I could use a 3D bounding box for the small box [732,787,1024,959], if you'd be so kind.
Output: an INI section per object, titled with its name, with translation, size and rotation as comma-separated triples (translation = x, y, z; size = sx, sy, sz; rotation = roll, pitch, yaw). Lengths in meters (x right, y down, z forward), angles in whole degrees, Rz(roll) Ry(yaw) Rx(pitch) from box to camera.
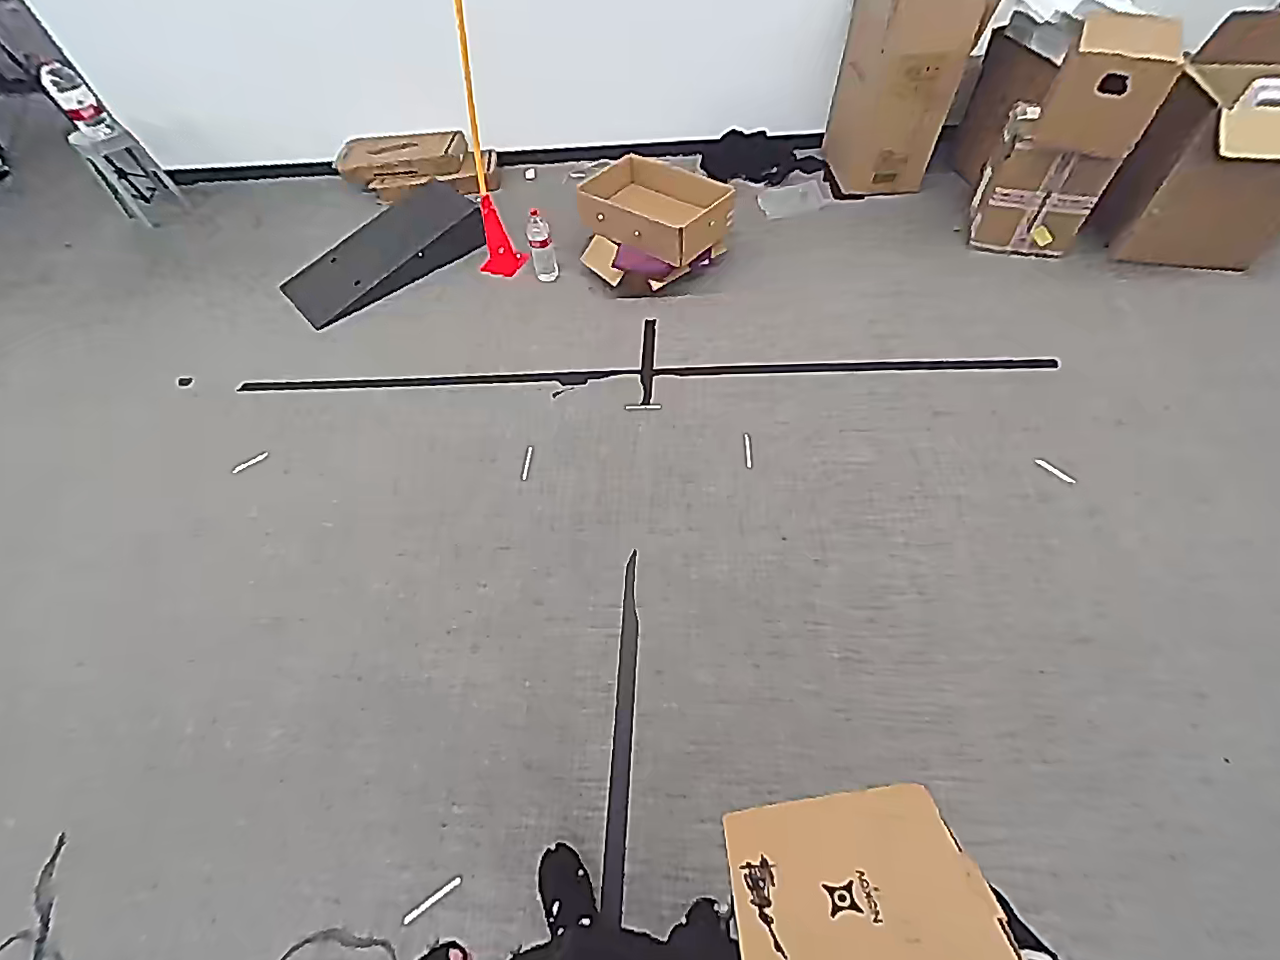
[small box]
translation = 0.179, 0.381, 0.421
size = 0.179, 0.176, 0.168
rotation = -12, 17, 5
